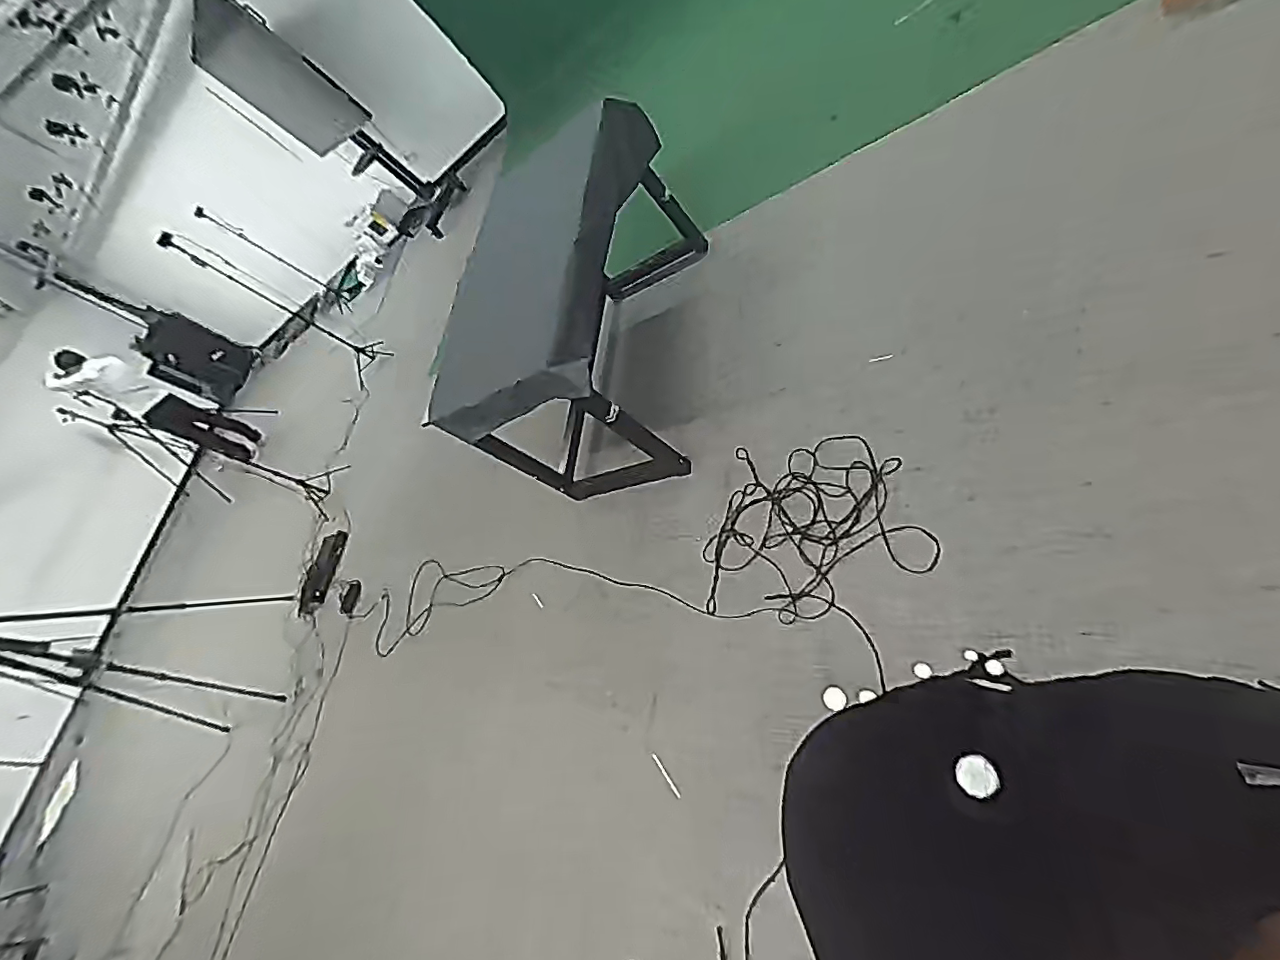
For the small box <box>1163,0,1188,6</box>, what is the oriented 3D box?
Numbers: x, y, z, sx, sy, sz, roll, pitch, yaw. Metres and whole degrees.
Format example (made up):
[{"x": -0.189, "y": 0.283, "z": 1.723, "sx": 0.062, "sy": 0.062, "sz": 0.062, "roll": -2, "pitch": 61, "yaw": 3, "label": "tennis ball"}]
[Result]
[{"x": 1.511, "y": -1.426, "z": 1.440, "sx": 0.168, "sy": 0.176, "sz": 0.179, "roll": -4, "pitch": 64, "yaw": 39, "label": "small box"}]
